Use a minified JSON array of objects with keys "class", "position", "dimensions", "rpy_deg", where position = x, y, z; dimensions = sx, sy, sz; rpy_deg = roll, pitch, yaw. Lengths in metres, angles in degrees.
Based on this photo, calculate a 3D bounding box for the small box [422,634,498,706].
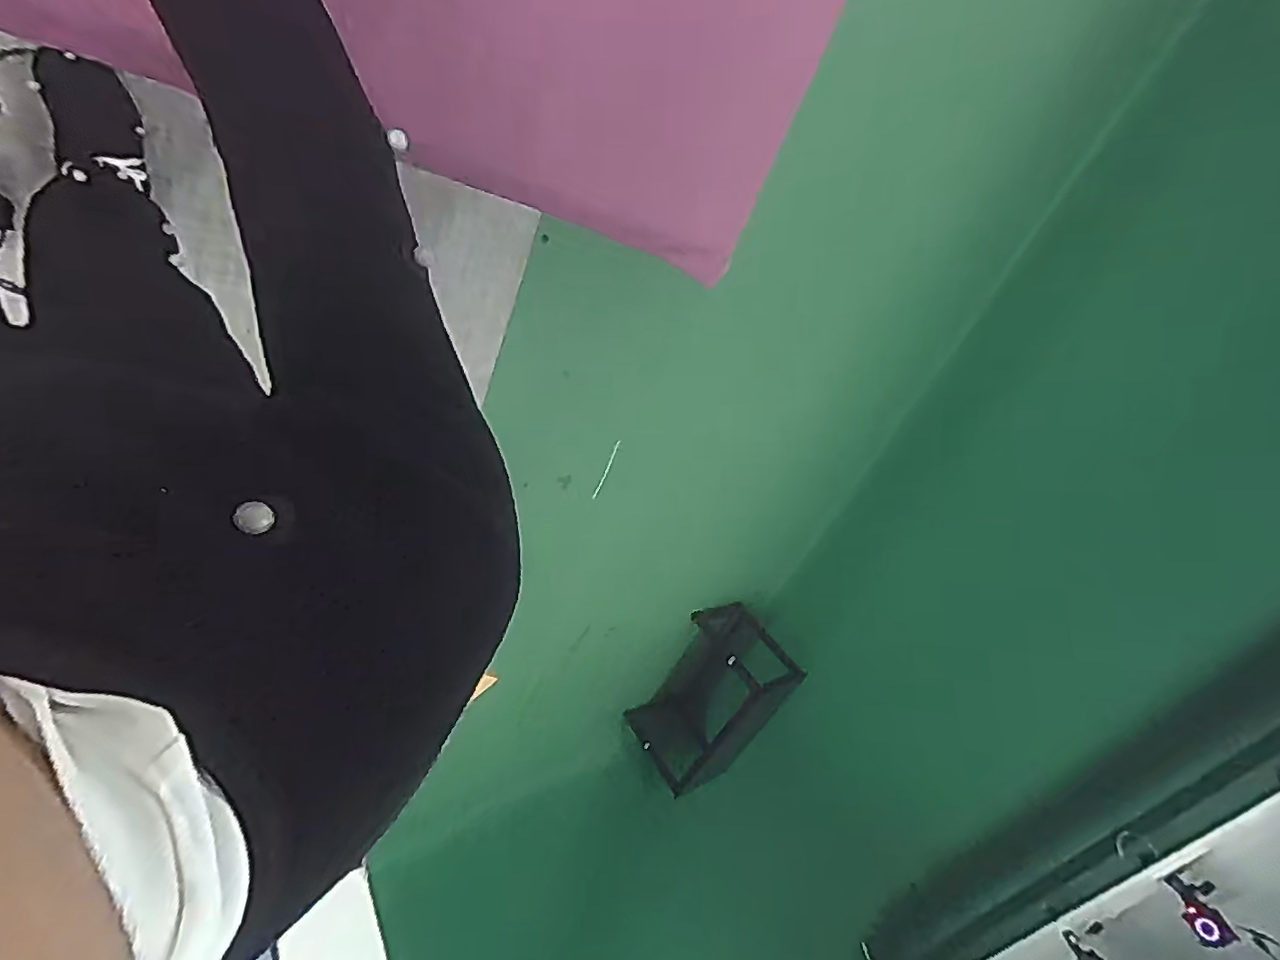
[{"class":"small box","position":[-0.659,0.689,1.969],"dimensions":[0.168,0.176,0.179],"rpy_deg":[-39,145,-4]}]
